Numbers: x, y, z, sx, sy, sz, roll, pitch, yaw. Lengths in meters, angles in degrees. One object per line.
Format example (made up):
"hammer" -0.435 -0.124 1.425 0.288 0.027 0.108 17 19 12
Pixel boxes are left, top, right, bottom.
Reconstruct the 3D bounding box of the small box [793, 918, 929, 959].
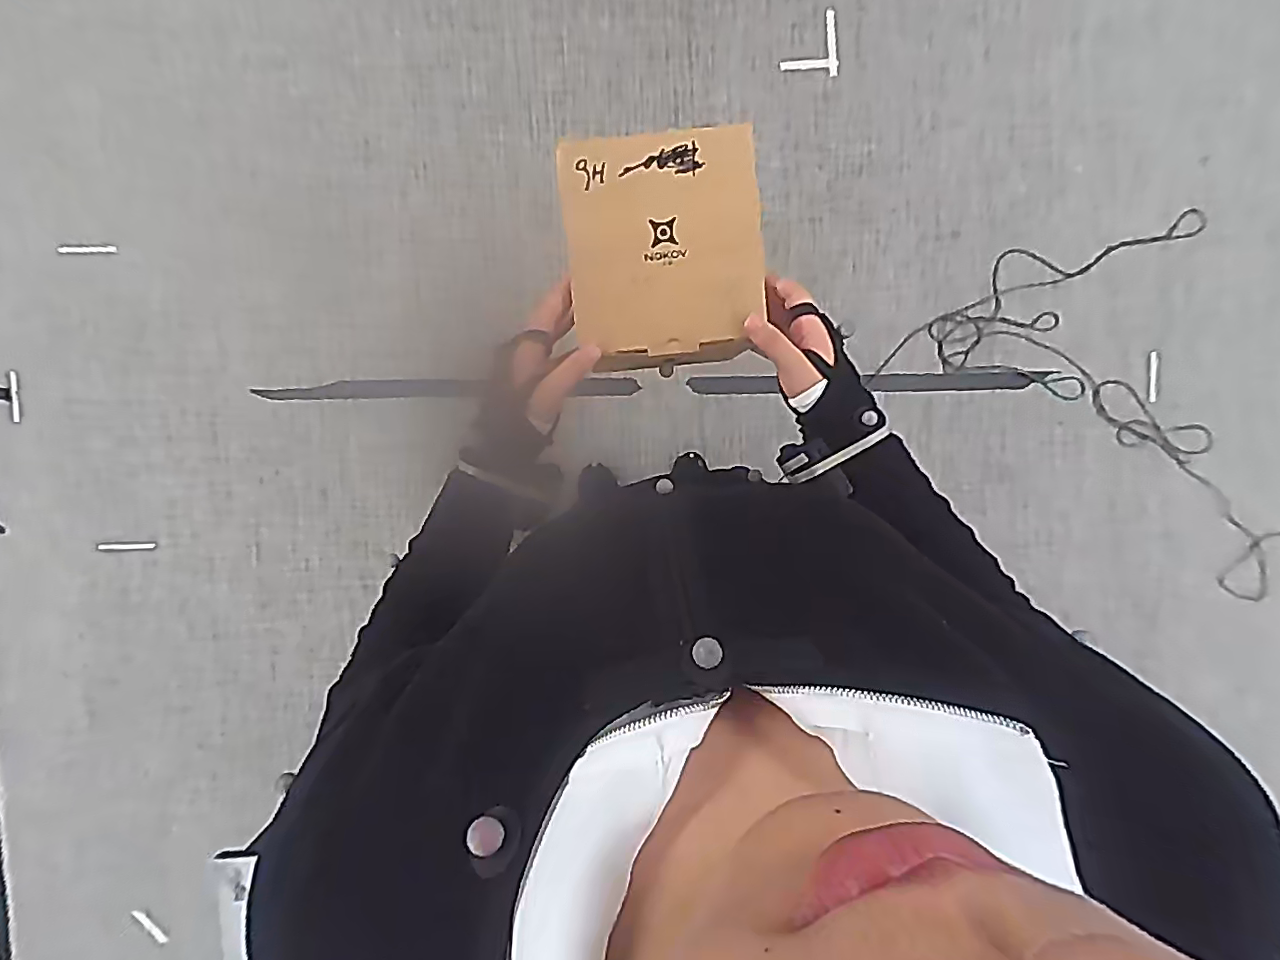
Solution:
"small box" 0.316 0.734 0.727 0.179 0.176 0.168 -1 92 0
